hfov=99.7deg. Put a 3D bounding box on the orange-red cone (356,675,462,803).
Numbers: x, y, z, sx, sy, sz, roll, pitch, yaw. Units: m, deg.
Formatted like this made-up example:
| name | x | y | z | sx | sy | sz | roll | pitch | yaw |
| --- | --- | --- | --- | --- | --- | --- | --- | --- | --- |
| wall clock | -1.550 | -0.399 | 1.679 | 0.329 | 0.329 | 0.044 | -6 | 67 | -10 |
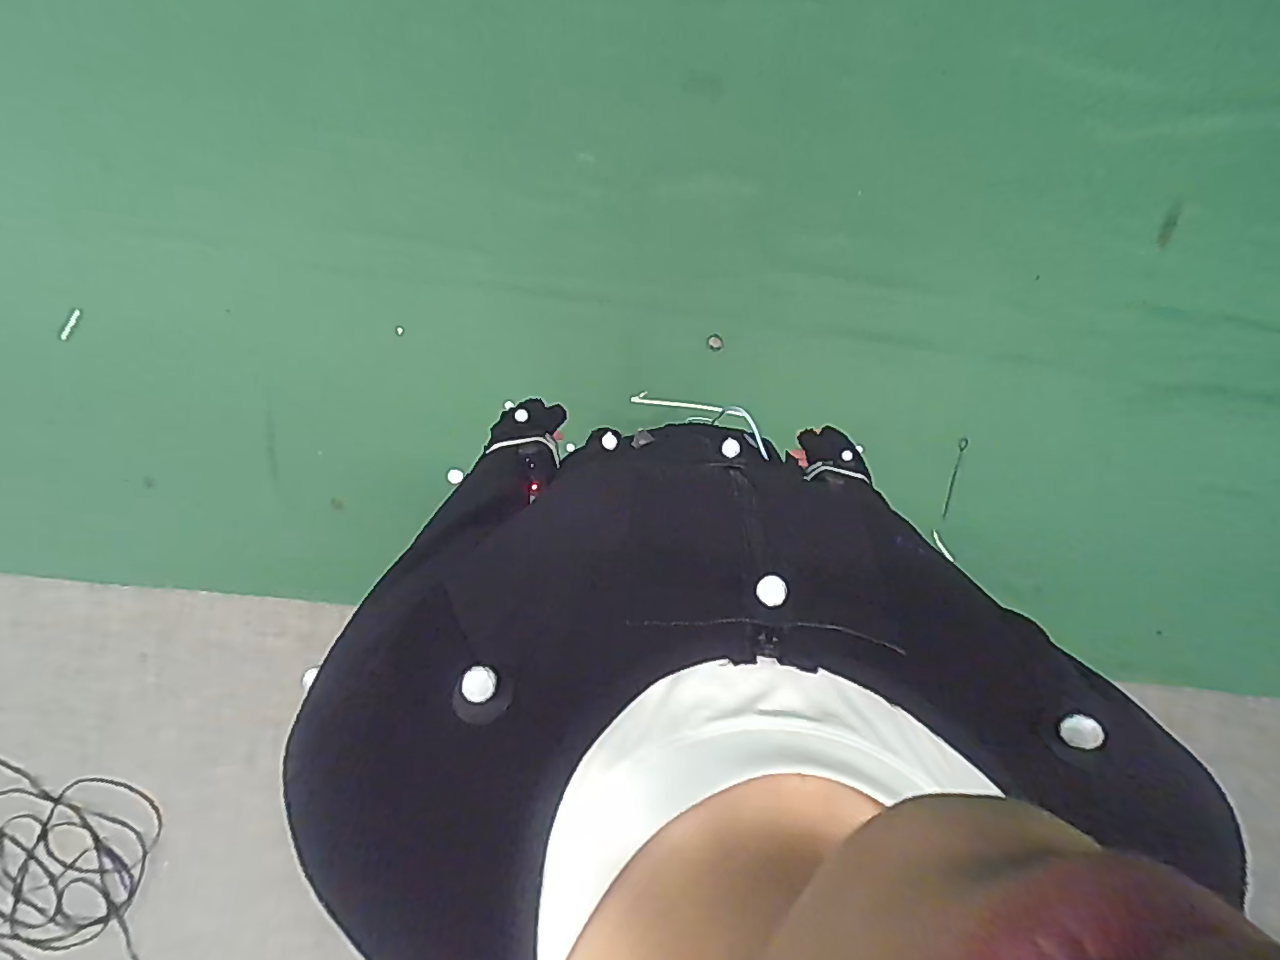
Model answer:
| name | x | y | z | sx | sy | sz | roll | pitch | yaw |
| --- | --- | --- | --- | --- | --- | --- | --- | --- | --- |
| orange-red cone | -0.606 | 0.675 | 1.360 | 0.198 | 0.360 | 0.199 | 7 | 97 | -1 |
